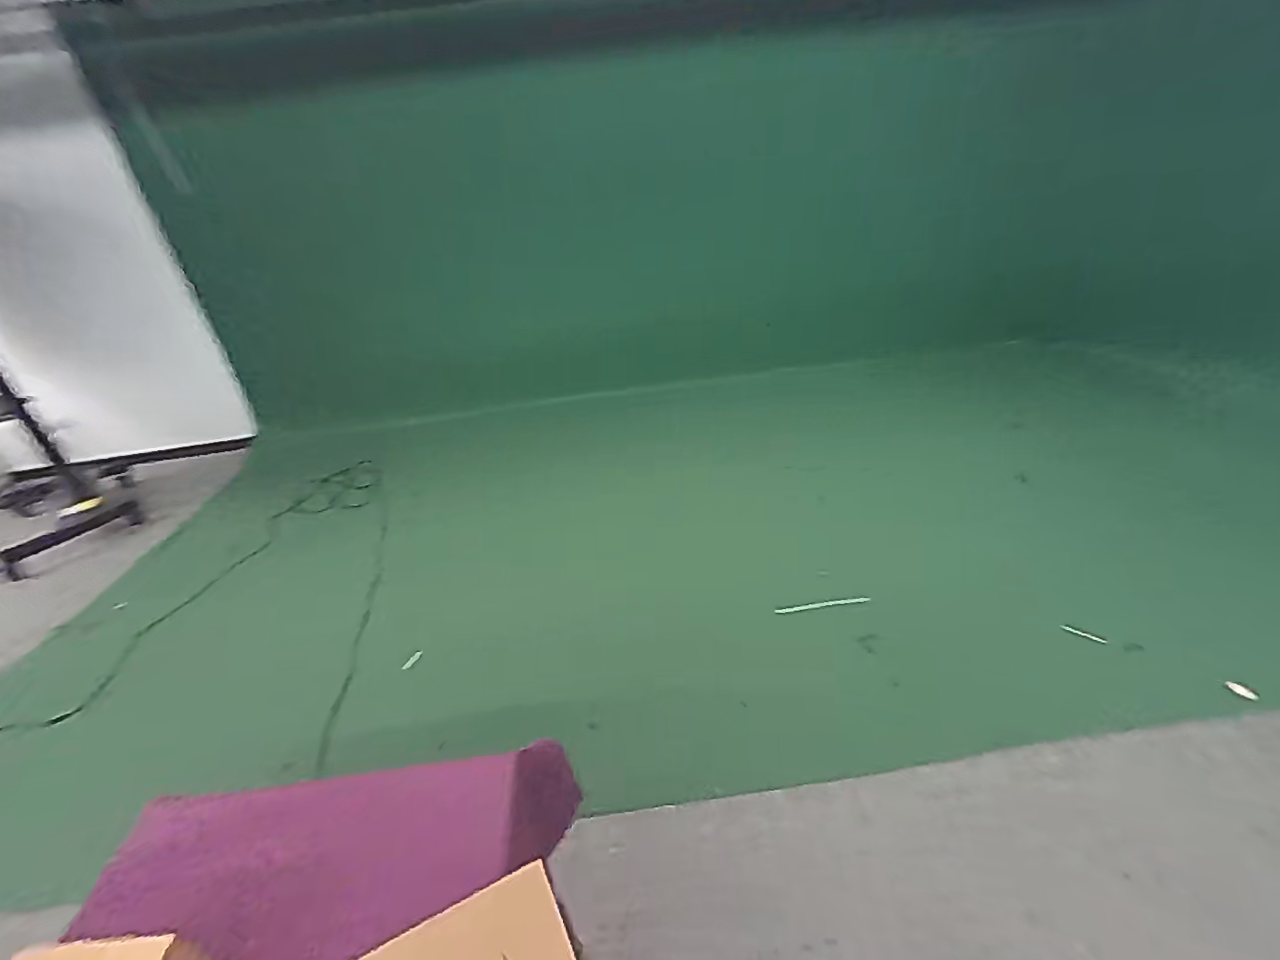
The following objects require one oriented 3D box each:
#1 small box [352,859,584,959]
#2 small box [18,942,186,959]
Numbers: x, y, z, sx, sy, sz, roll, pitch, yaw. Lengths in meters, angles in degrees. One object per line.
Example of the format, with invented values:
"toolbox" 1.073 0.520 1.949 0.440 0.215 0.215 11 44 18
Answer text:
"small box" -0.116 0.434 0.391 0.179 0.176 0.168 -14 39 -24
"small box" -0.572 0.613 0.555 0.179 0.176 0.168 -7 31 2
